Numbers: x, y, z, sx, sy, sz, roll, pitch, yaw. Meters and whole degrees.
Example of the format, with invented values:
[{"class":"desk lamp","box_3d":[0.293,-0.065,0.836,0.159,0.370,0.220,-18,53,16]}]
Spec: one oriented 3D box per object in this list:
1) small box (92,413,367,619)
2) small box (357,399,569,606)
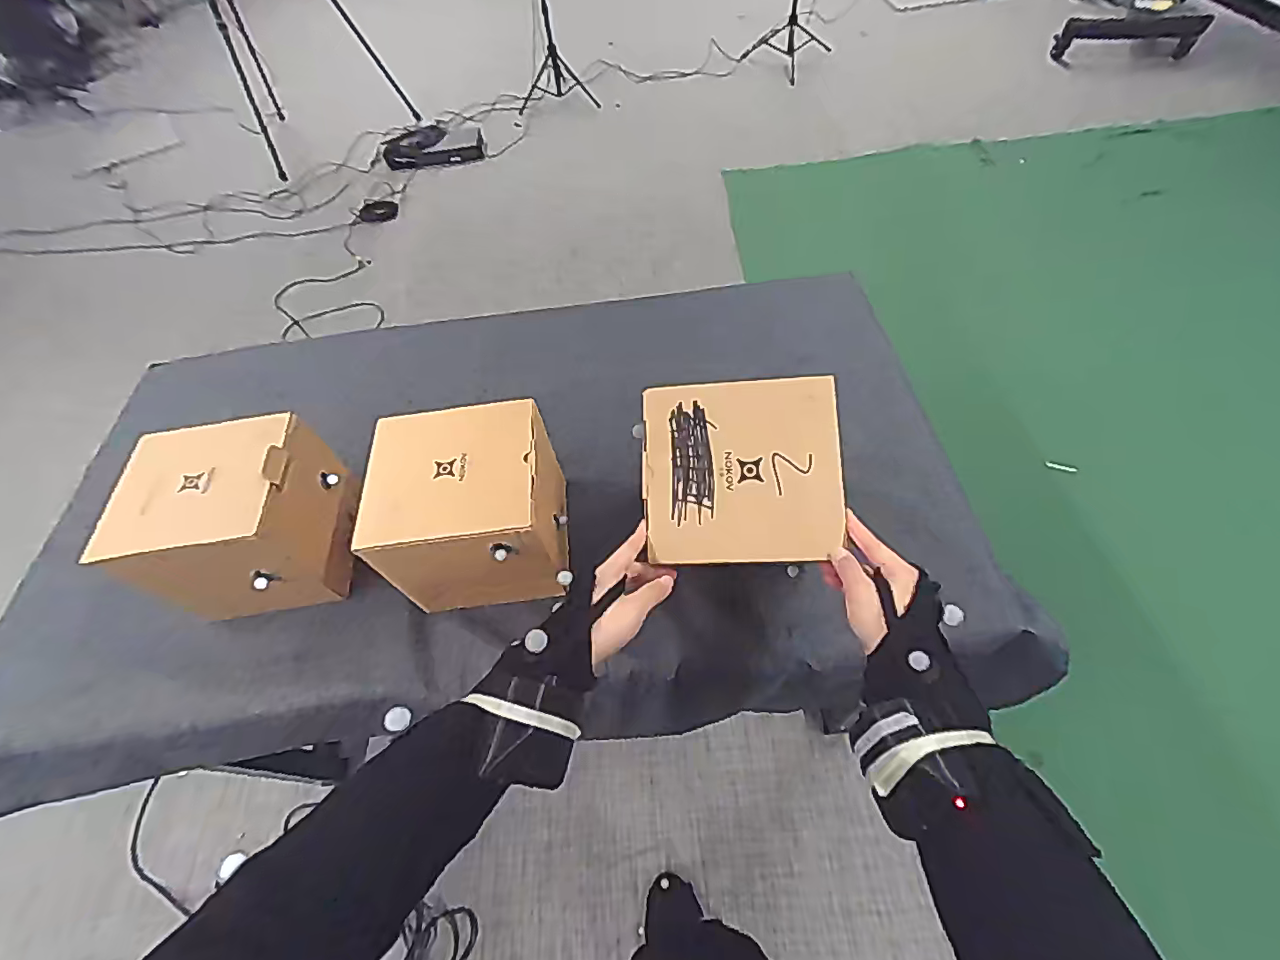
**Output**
[{"class":"small box","box_3d":[-0.454,0.048,0.639,0.179,0.176,0.168,-10,54,0]},{"class":"small box","box_3d":[-0.185,0.033,0.621,0.179,0.176,0.168,-8,55,0]}]
